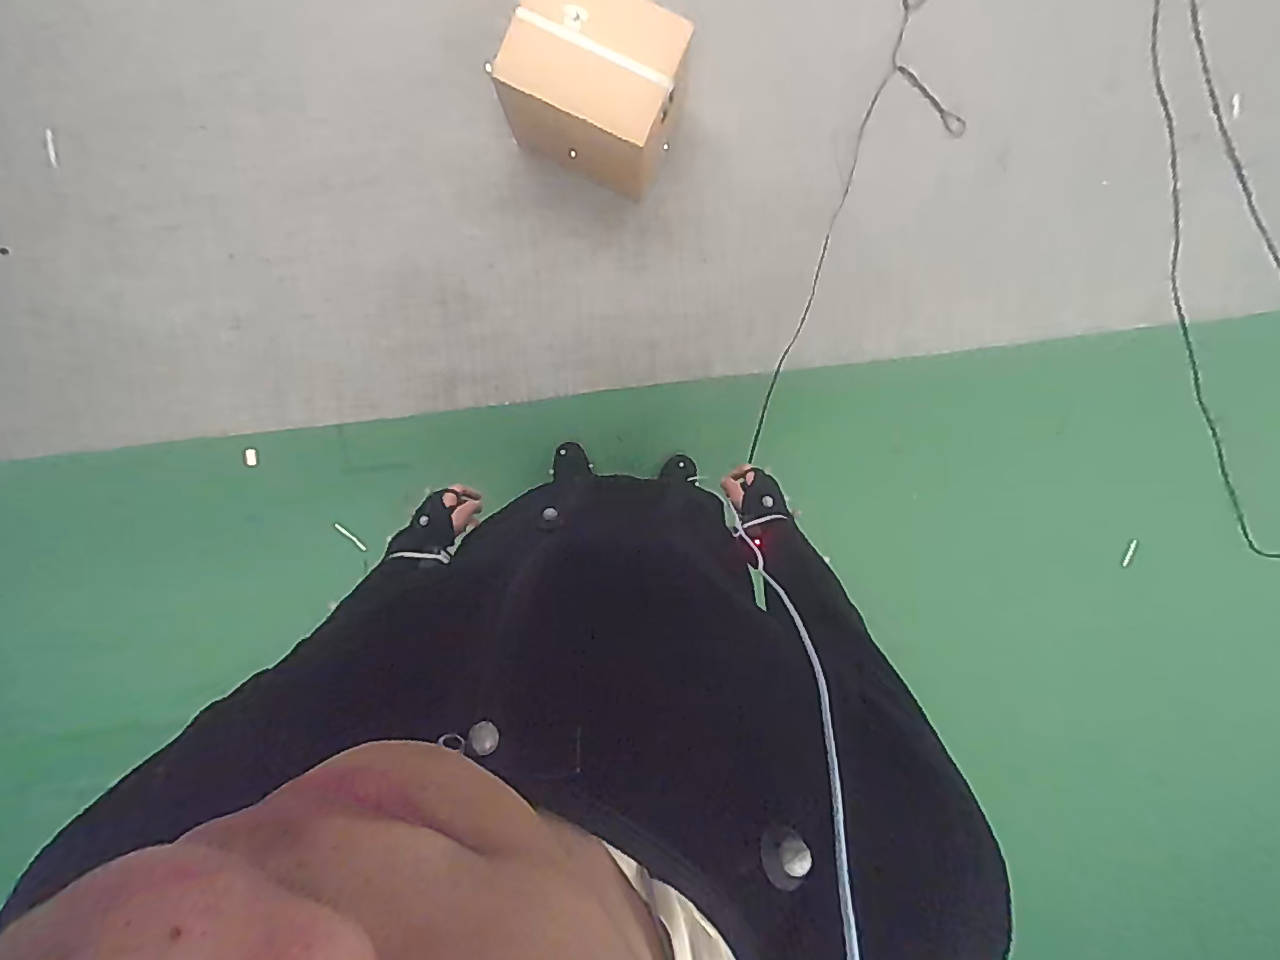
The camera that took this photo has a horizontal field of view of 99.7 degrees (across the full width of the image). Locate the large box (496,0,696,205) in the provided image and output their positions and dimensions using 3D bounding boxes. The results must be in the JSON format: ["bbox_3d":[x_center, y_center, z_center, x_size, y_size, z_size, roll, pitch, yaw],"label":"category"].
[{"bbox_3d":[-0.102,-1.014,1.440,0.408,0.320,0.320,25,92,-1],"label":"large box"}]
